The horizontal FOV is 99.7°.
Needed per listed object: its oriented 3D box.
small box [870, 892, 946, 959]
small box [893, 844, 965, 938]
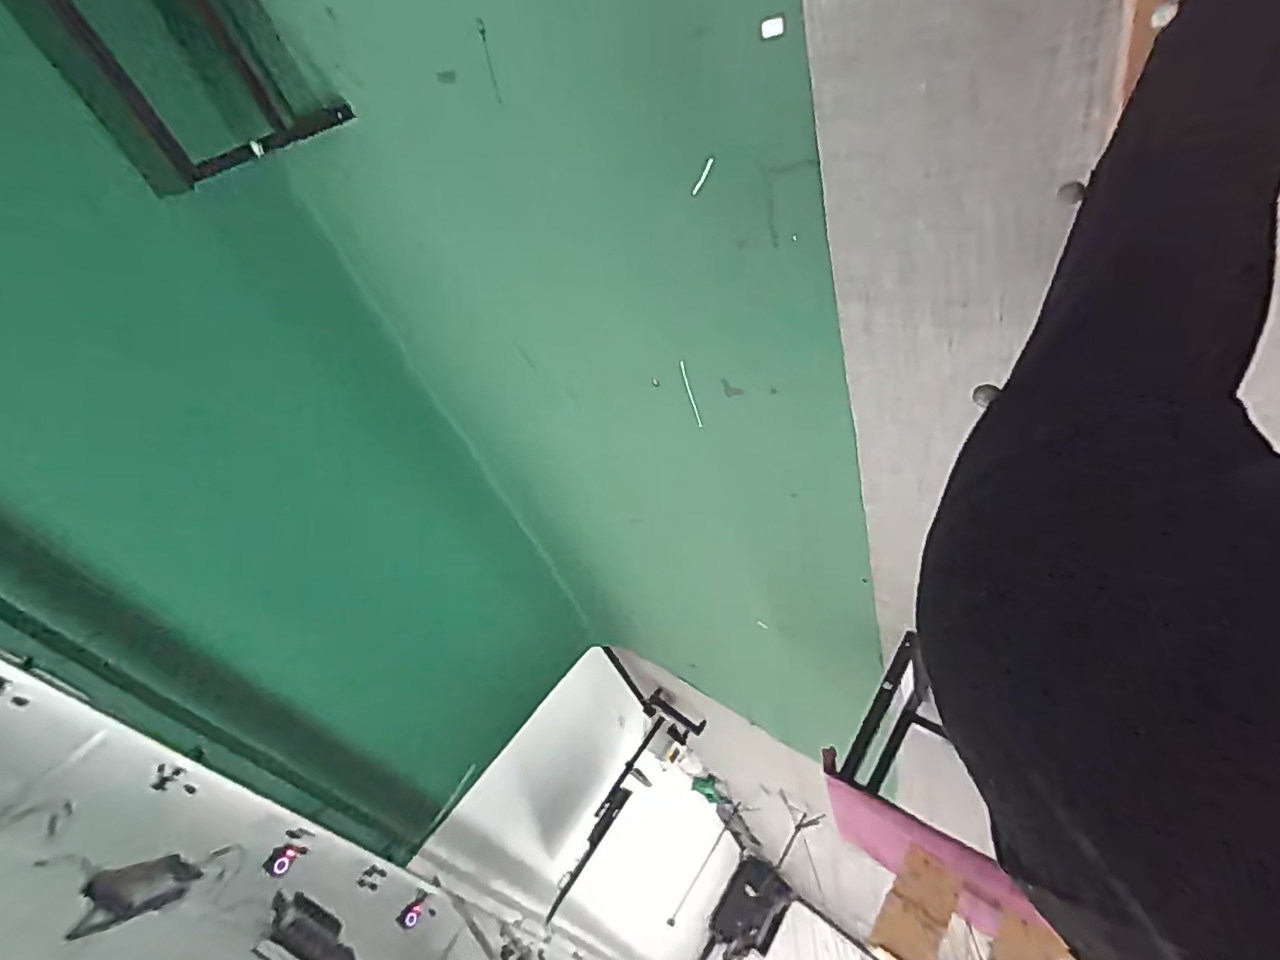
[{"bbox_3d":[0.842,1.441,1.696,0.168,0.176,0.179,17,145,42],"label":"small box"},{"bbox_3d":[0.946,1.338,1.770,0.168,0.176,0.179,18,145,40],"label":"small box"}]
